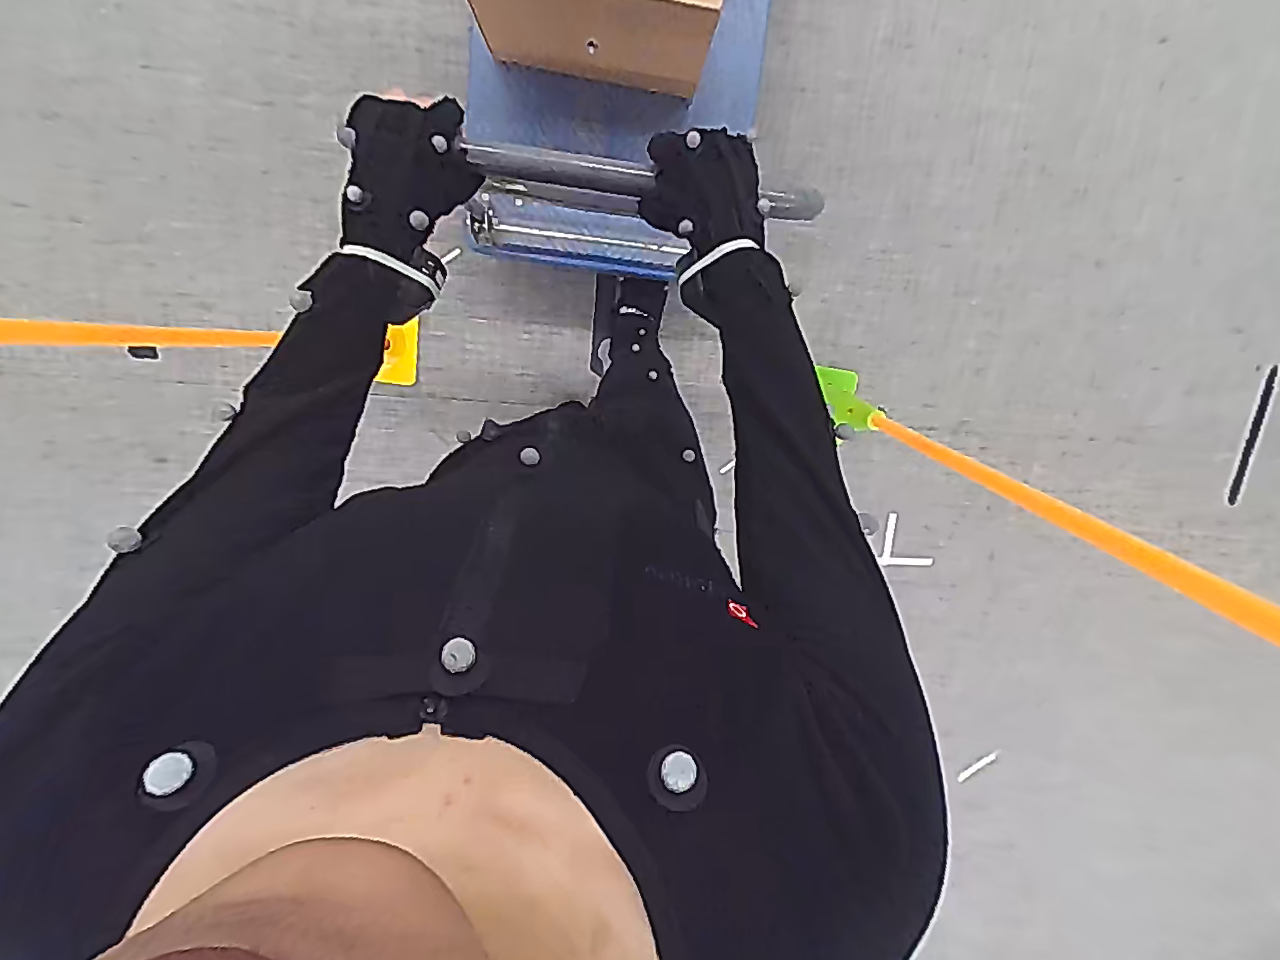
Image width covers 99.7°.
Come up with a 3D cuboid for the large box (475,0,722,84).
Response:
[{"bbox_3d":[-0.057,-0.922,0.896,0.408,0.320,0.320,8,104,-4],"label":"large box"}]
